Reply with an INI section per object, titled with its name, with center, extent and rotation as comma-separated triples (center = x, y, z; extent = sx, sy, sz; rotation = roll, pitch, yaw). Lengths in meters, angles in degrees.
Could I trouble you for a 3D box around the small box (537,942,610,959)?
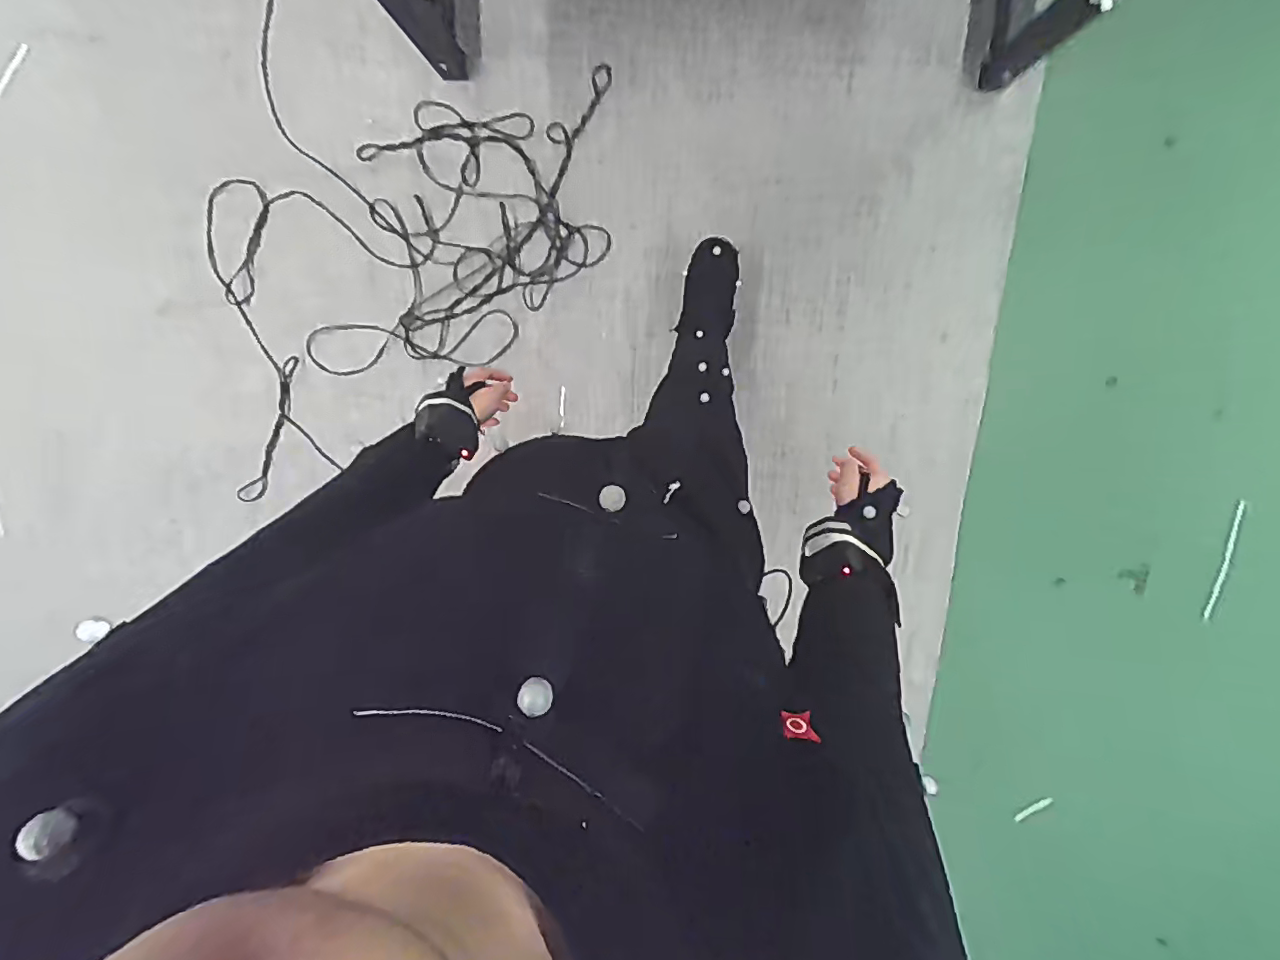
[small box]
center = -0.171, 1.216, 1.240
extent = 0.179, 0.176, 0.168
rotation = 13, 104, -1
